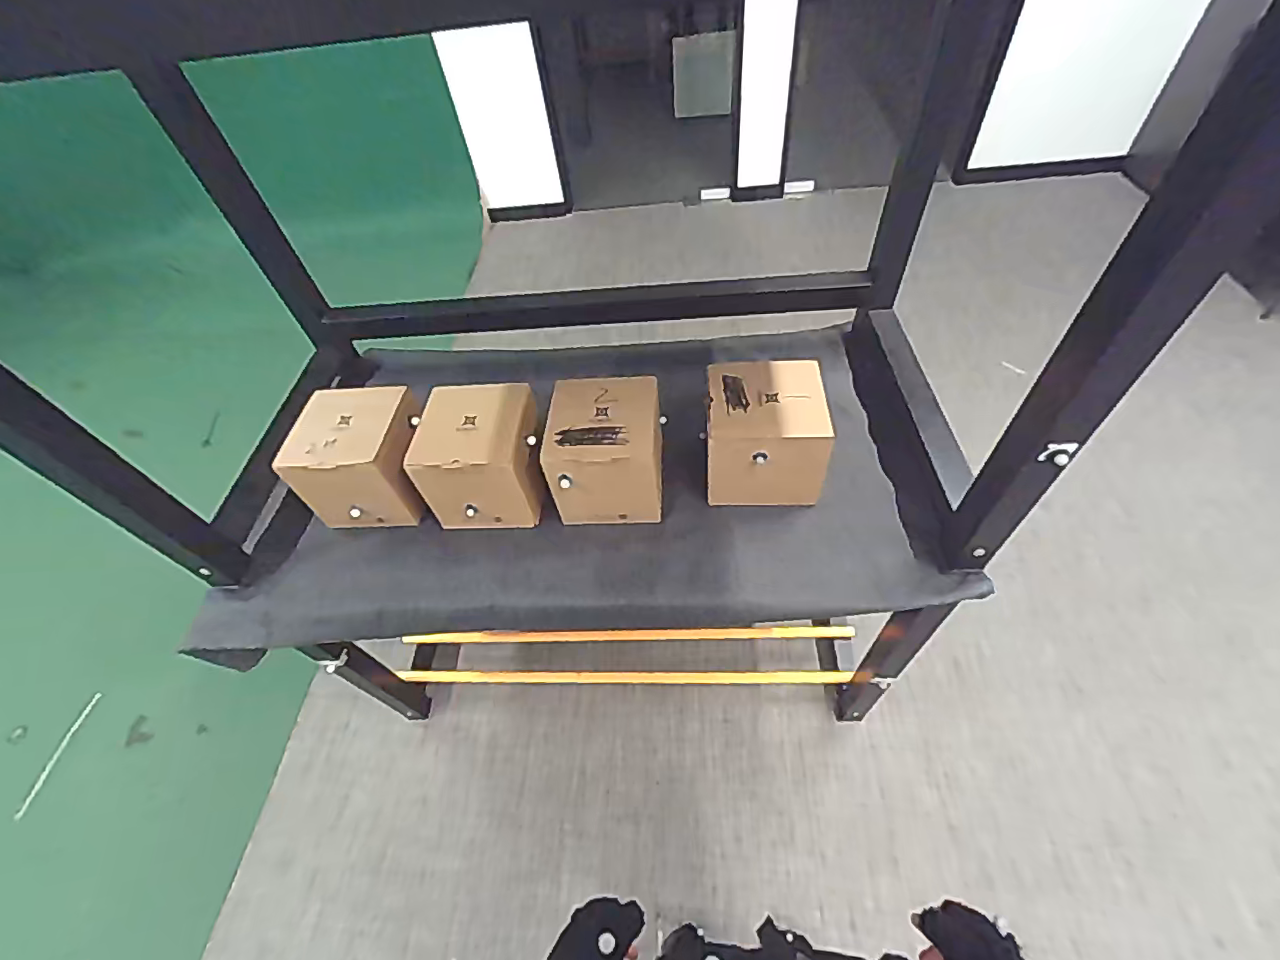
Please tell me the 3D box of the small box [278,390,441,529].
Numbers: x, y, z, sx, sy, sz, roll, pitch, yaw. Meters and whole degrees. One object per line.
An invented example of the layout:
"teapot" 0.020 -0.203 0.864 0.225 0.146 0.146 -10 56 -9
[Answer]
"small box" -0.463 -0.033 0.930 0.168 0.176 0.179 -2 51 5

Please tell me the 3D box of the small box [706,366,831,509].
"small box" 0.196 -0.066 0.878 0.179 0.176 0.168 1 52 6
